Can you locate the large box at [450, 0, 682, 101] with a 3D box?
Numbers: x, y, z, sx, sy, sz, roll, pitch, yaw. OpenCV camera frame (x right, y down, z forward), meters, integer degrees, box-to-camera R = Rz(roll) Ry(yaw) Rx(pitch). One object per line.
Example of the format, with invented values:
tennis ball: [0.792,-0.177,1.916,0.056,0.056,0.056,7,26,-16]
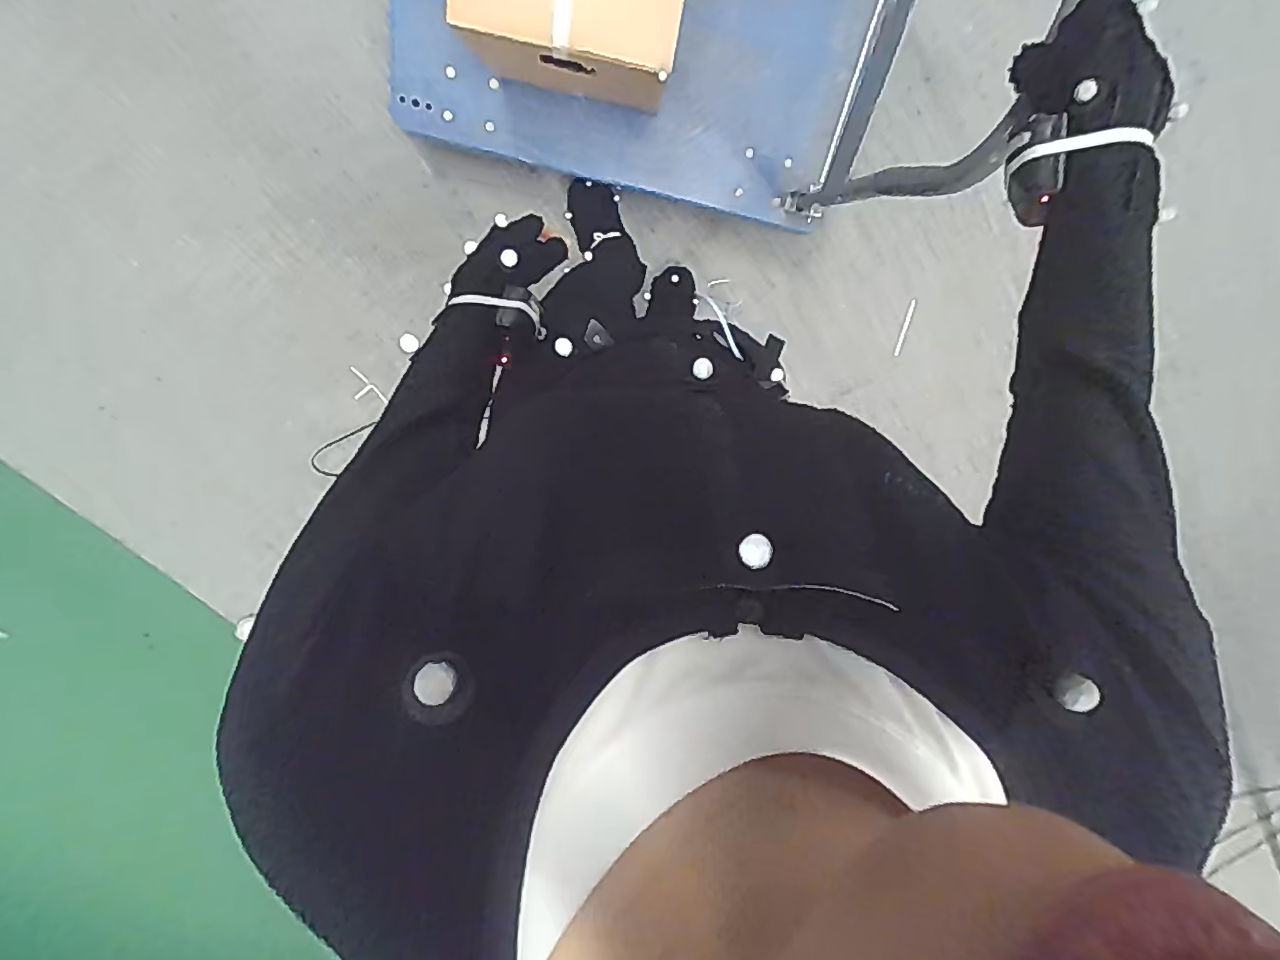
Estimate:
large box: [-0.074,-0.844,0.788,0.320,0.320,0.408,10,117,-4]
